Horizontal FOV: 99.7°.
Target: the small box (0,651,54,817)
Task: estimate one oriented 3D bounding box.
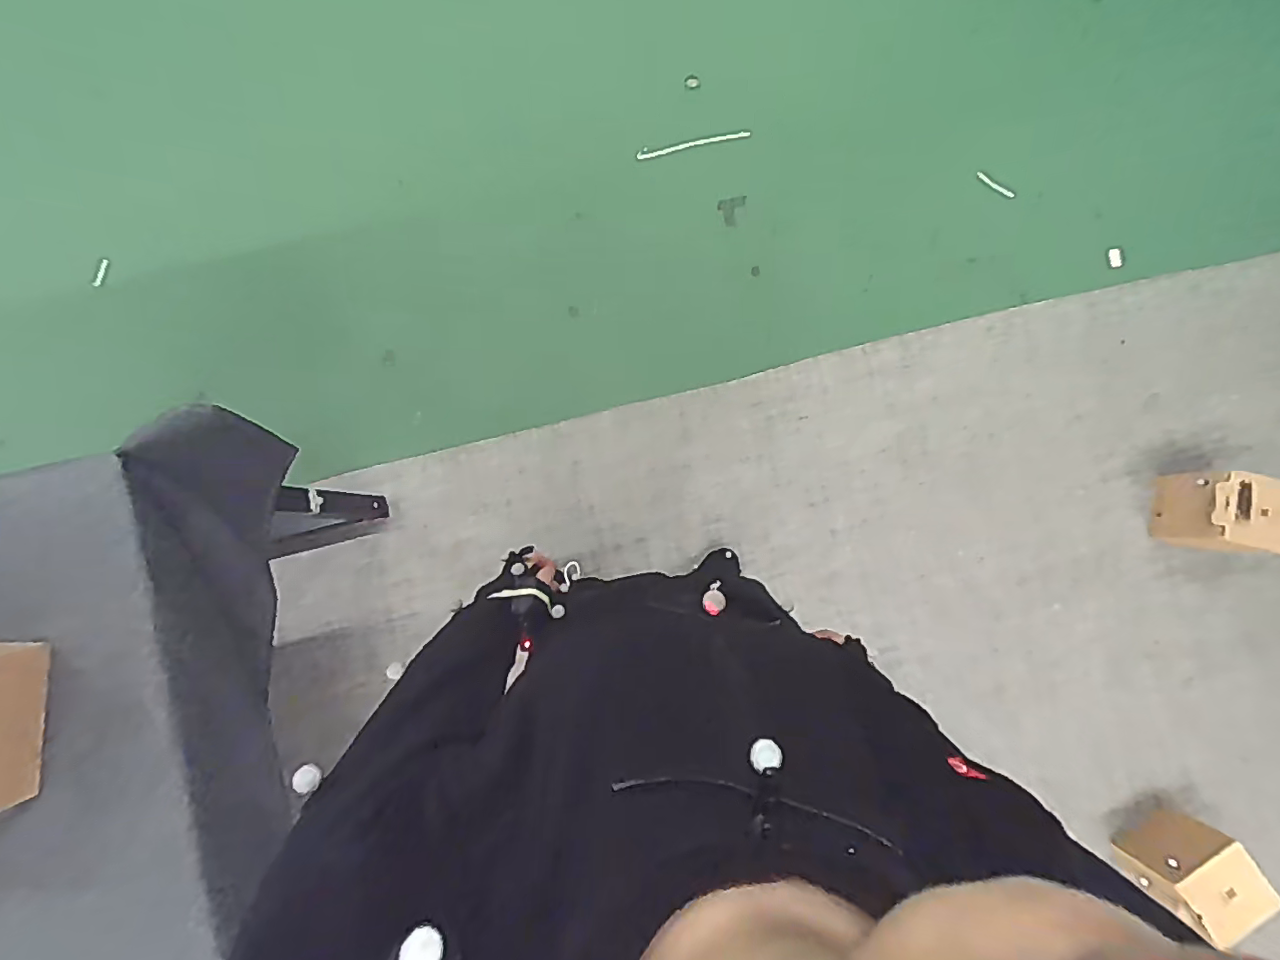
[{"bbox_3d":[-0.769,0.277,0.553,0.168,0.176,0.179,0,86,1],"label":"small box"}]

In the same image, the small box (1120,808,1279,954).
[{"bbox_3d":[1.277,0.902,1.237,0.179,0.176,0.168,-34,86,-2],"label":"small box"}]
